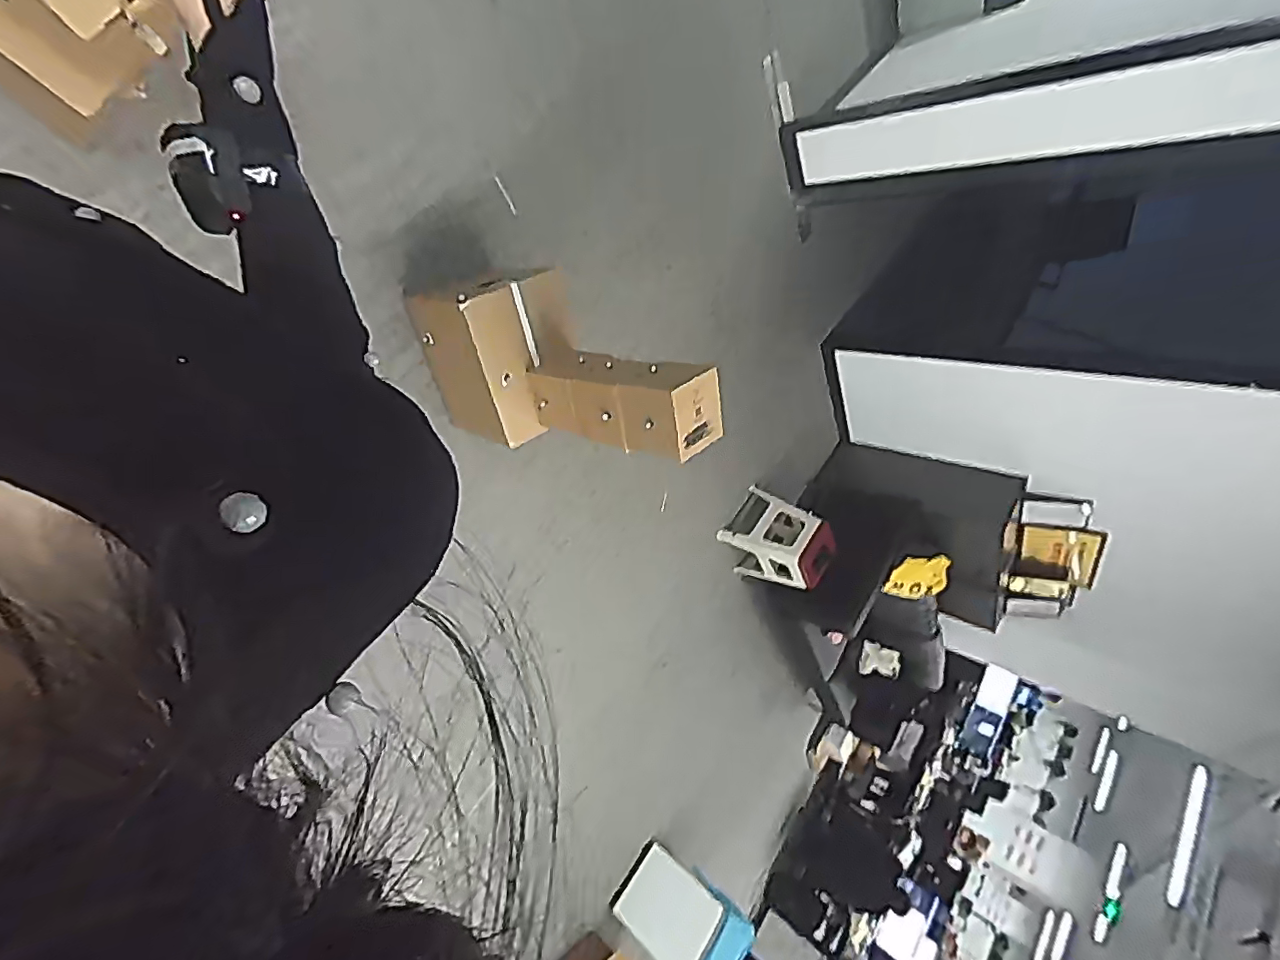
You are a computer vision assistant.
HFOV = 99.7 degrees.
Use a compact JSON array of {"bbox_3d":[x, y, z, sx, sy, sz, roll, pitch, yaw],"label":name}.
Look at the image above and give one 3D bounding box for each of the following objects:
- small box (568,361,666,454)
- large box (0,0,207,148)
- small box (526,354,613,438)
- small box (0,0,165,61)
[{"bbox_3d":[-0.057,-0.189,1.367,0.168,0.176,0.179,-34,127,-37],"label":"small box"},{"bbox_3d":[-0.947,-0.786,0.783,0.408,0.320,0.320,42,72,-46],"label":"large box"},{"bbox_3d":[-0.177,-0.235,1.466,0.179,0.176,0.168,-36,128,-36],"label":"small box"},{"bbox_3d":[-0.738,-0.670,0.679,0.168,0.176,0.179,-57,138,-15],"label":"small box"}]
